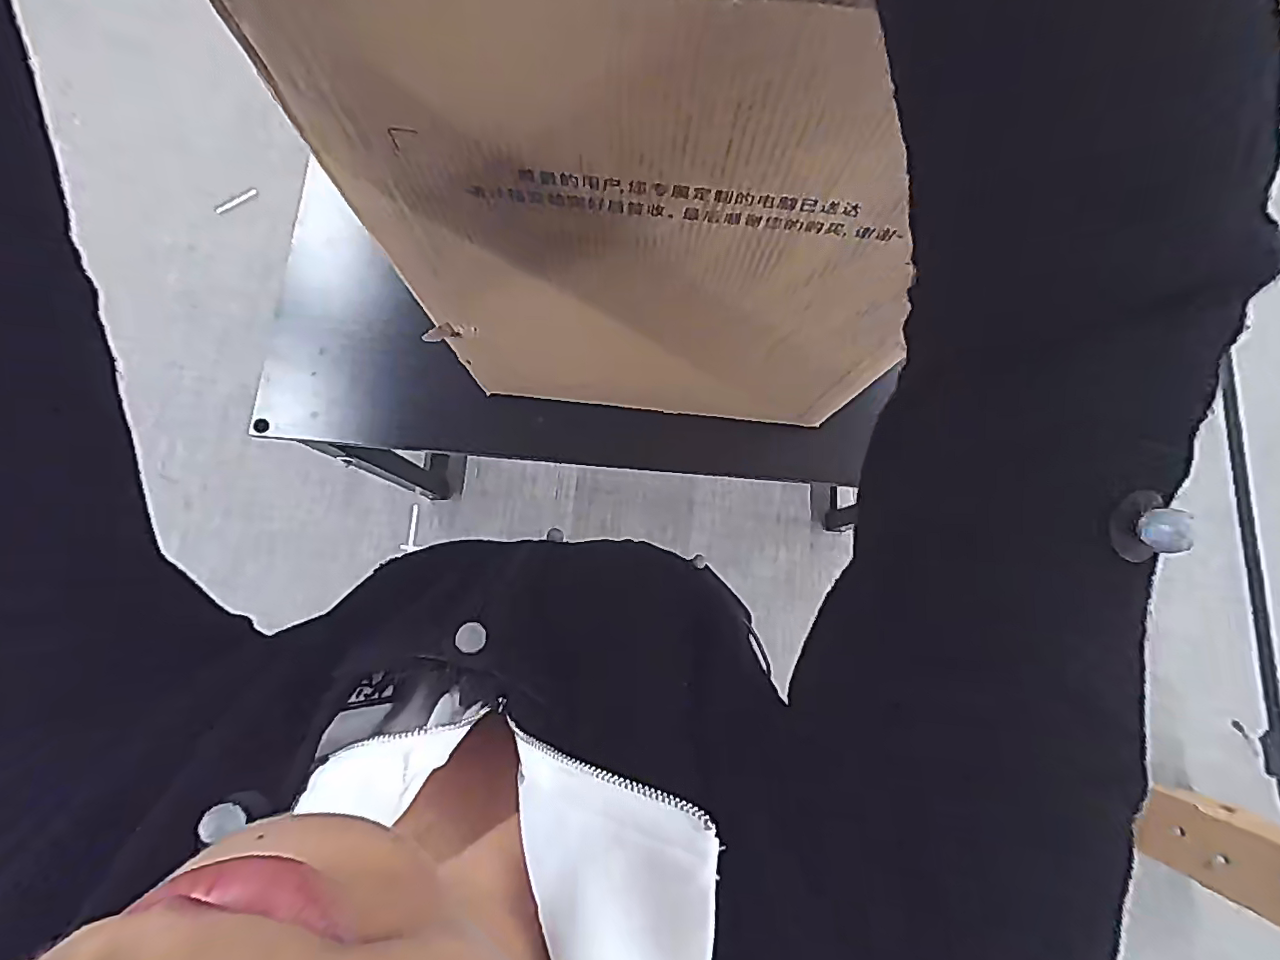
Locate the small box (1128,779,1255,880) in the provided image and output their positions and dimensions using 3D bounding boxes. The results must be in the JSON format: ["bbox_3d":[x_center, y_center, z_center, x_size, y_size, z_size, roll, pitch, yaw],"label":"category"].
[{"bbox_3d":[1.387,0.884,1.367,0.168,0.176,0.179,9,80,0],"label":"small box"}]

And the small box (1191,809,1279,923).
[{"bbox_3d":[1.397,0.862,1.204,0.179,0.176,0.168,9,79,0],"label":"small box"}]

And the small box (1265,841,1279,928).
[{"bbox_3d":[1.389,0.832,1.044,0.179,0.176,0.168,9,79,1],"label":"small box"}]
